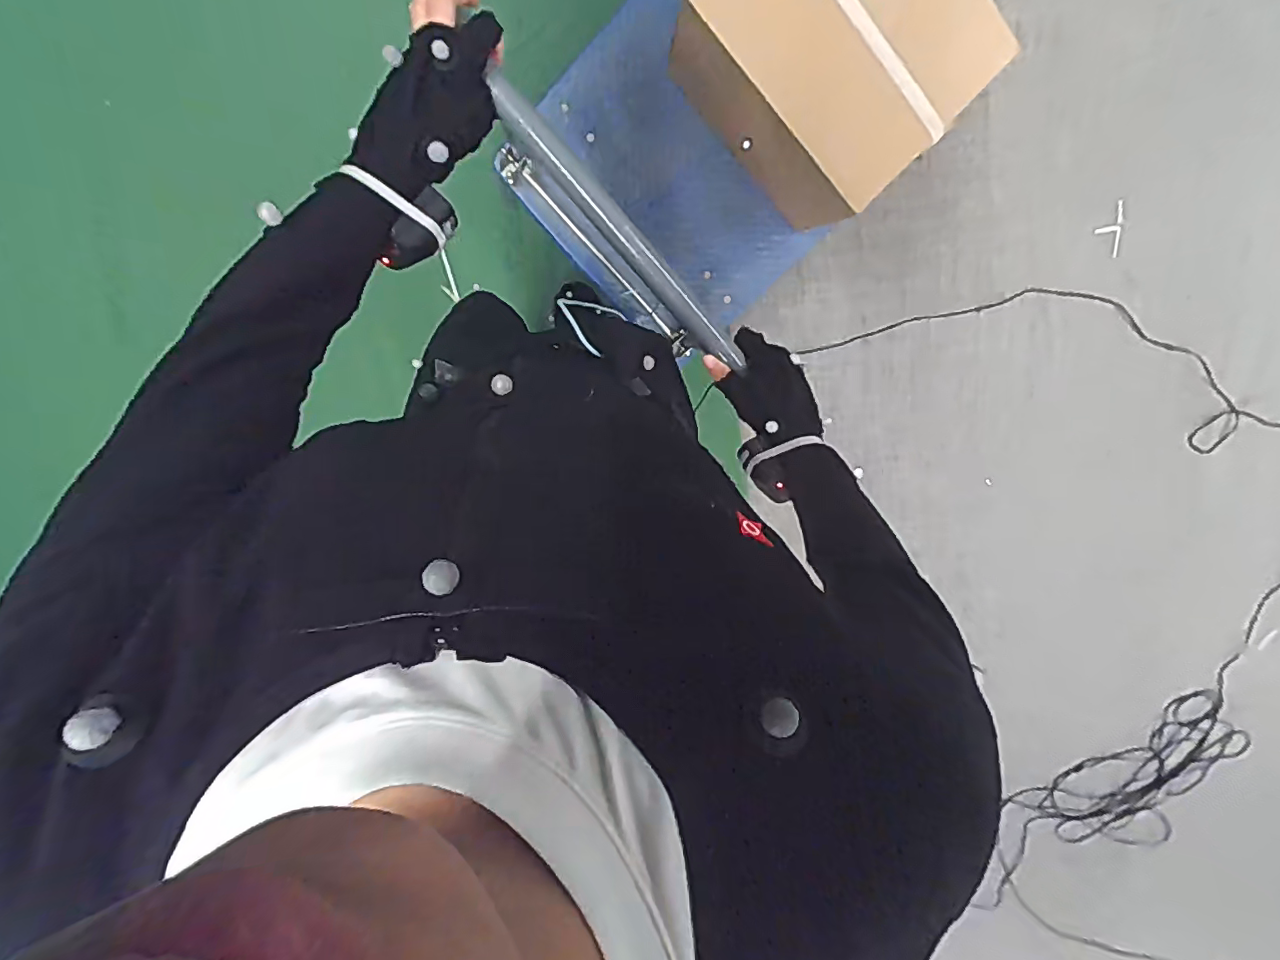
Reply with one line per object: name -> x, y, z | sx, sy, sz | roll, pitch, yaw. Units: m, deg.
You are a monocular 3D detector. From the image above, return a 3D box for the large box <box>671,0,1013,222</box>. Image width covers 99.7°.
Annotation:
large box -> 0.305, -0.719, 0.923 | 0.408, 0.320, 0.320 | 42, 103, -15
